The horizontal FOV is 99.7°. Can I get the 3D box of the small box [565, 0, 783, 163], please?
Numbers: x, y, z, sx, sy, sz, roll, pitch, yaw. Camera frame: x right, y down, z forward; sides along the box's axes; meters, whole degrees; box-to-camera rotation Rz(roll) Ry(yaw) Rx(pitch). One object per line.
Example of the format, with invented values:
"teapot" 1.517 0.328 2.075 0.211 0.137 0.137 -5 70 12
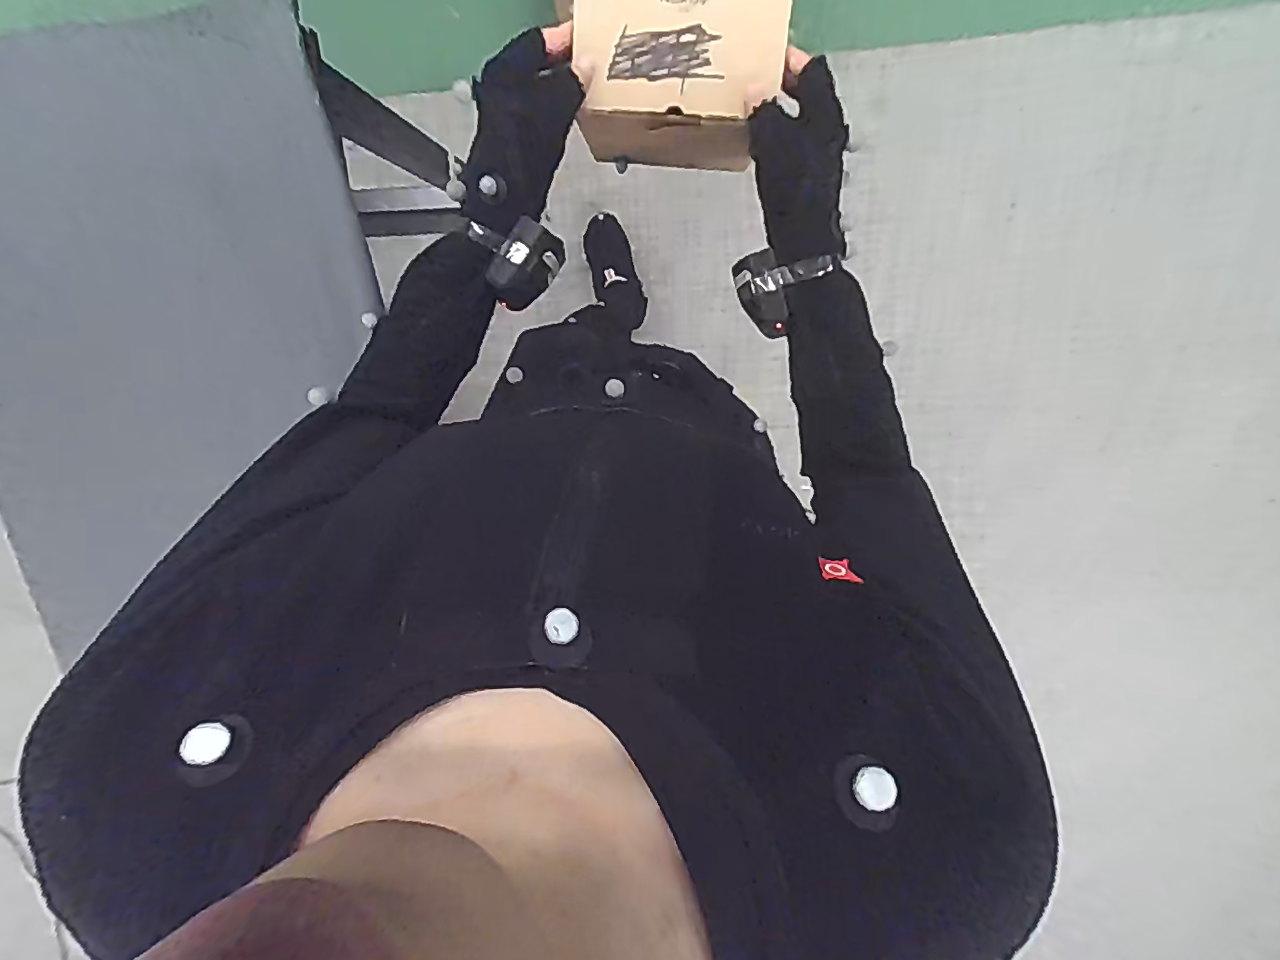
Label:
"small box" 0.031 -0.399 0.479 0.168 0.176 0.179 4 107 0
